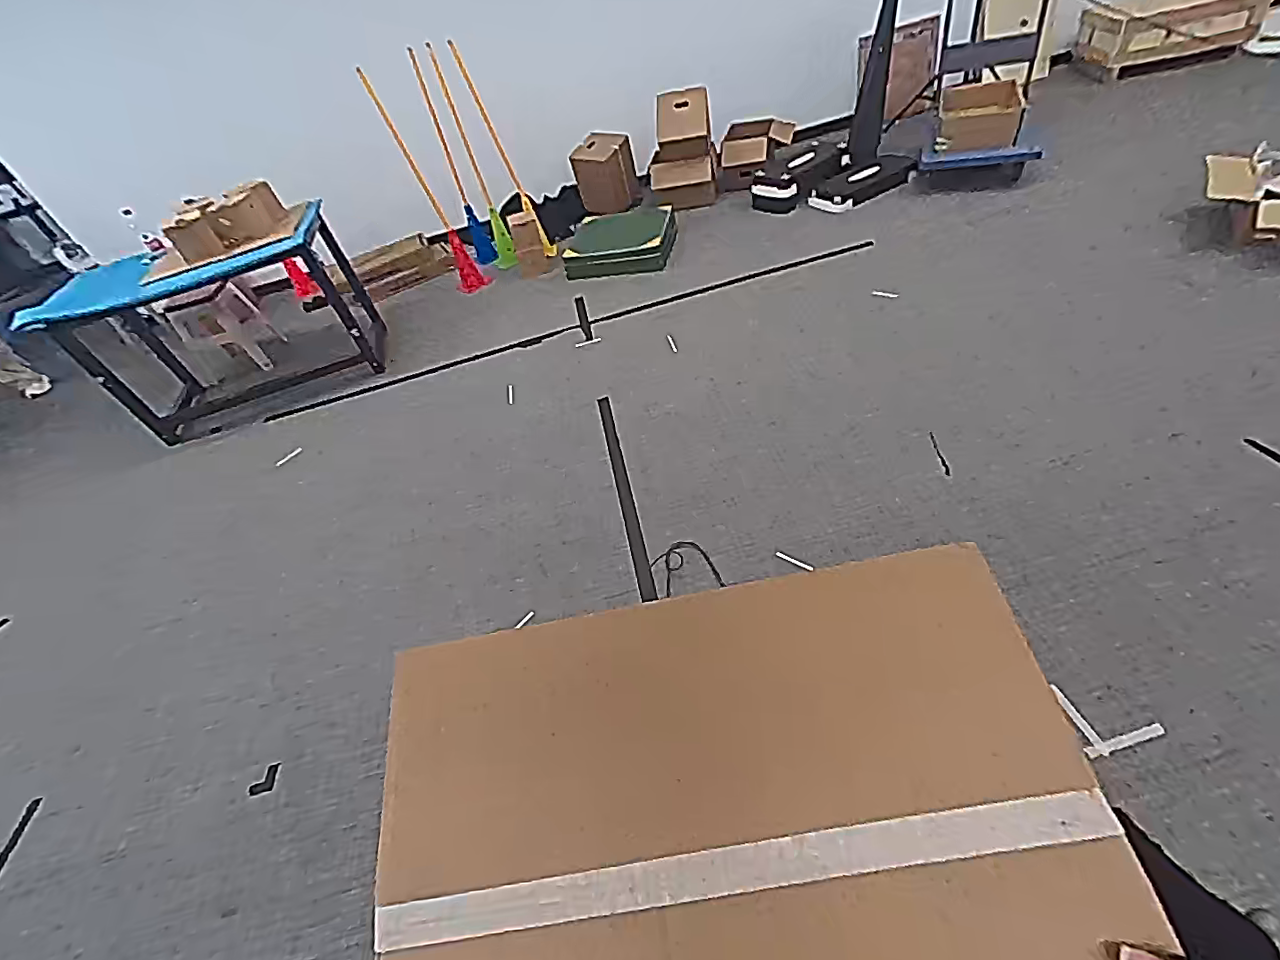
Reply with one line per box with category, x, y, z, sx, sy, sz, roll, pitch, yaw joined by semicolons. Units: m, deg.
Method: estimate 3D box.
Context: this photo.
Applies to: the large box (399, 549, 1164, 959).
large box;0.075;0.292;0.435;0.408;0.320;0.320;-12;61;4
